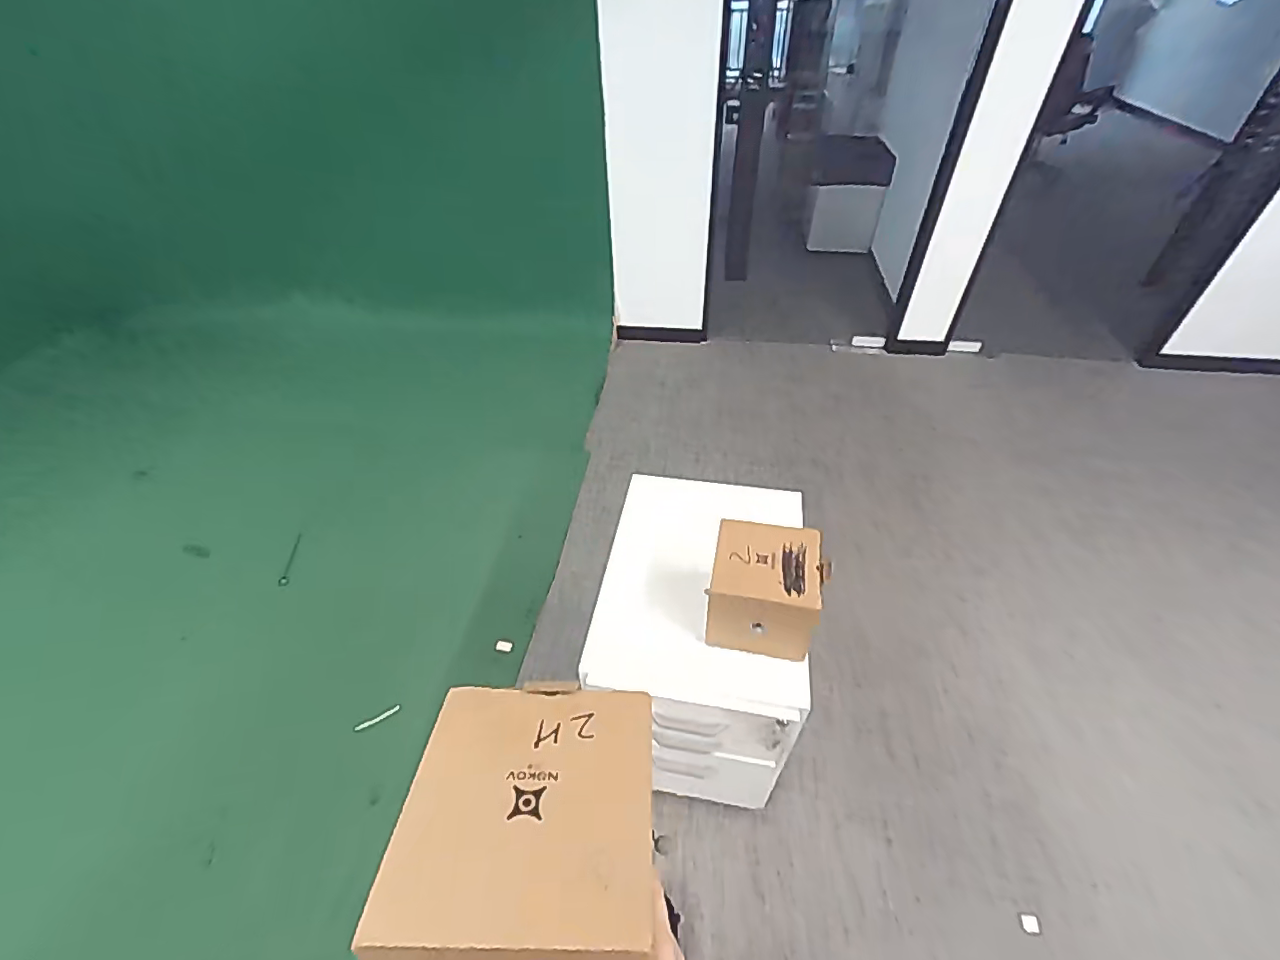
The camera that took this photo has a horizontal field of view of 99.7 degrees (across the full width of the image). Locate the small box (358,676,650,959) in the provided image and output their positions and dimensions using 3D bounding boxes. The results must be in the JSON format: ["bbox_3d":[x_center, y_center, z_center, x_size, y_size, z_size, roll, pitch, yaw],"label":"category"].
[{"bbox_3d":[-0.077,0.277,0.411,0.168,0.176,0.179,2,28,0],"label":"small box"}]
